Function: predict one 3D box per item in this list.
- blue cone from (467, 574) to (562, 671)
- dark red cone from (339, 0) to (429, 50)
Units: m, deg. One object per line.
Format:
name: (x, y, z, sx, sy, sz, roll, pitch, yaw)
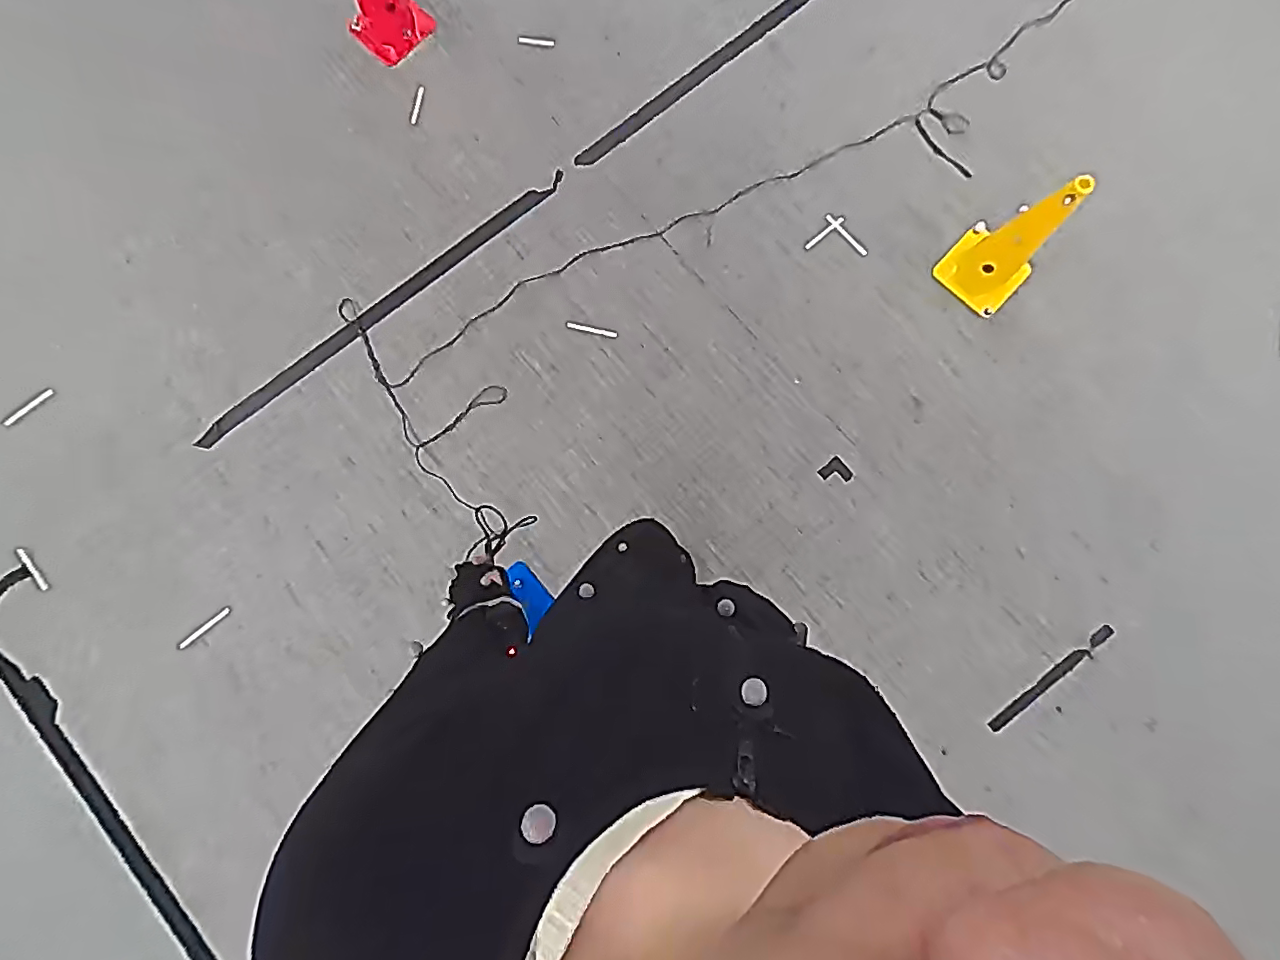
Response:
blue cone: (-0.313, 0.335, 1.194, 0.193, 0.380, 0.192, -38, 85, -4)
dark red cone: (-0.734, -1.363, 1.388, 0.201, 0.394, 0.202, 43, 85, 4)
